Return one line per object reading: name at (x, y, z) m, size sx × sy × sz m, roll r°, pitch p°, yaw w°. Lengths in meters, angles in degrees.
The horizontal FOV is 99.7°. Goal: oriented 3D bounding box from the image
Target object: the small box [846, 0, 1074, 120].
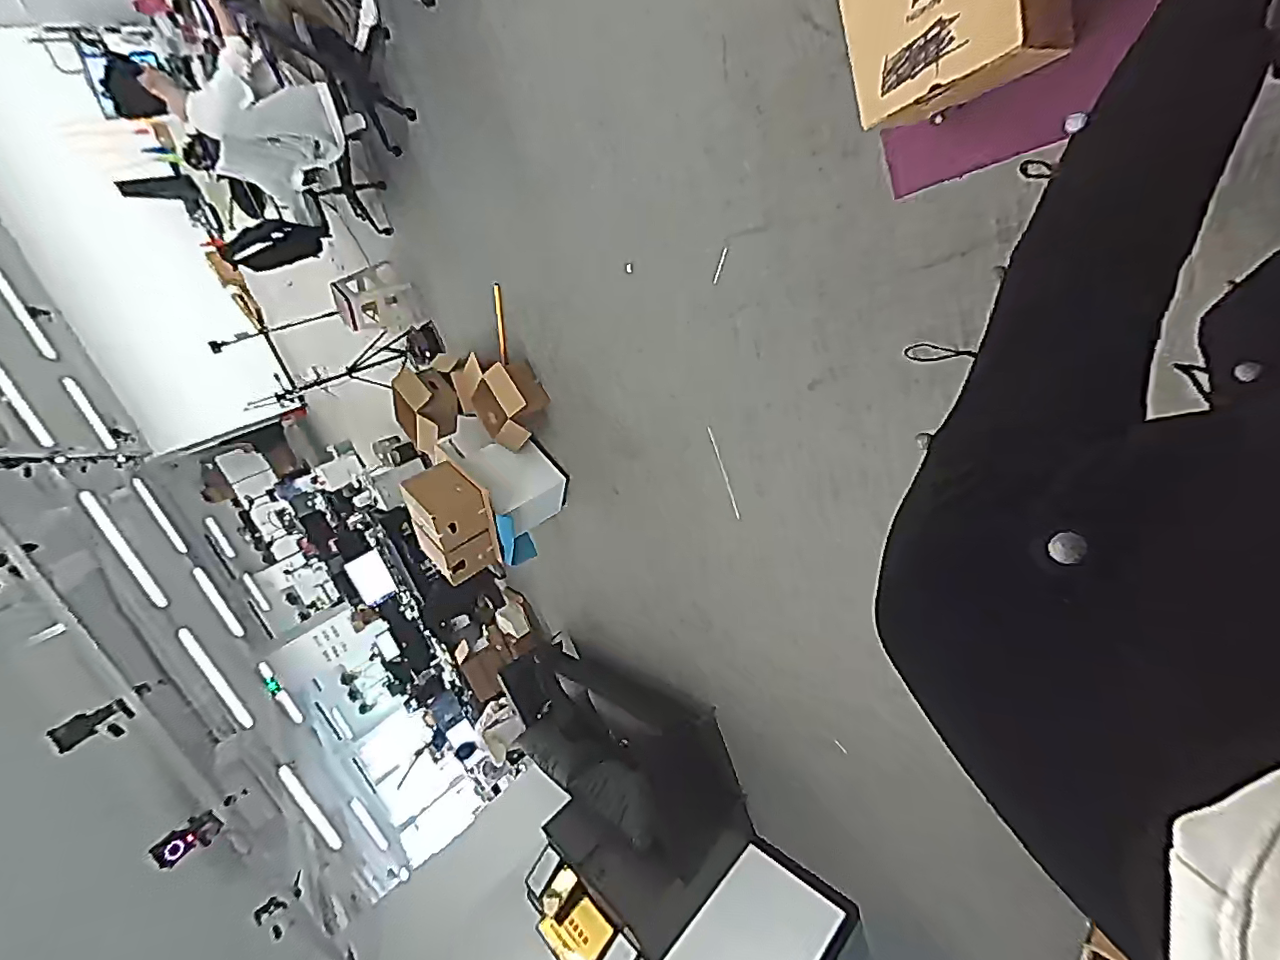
small box at (0.357, -0.543, 0.605) m, size 0.168 × 0.176 × 0.179 m, roll 4°, pitch 119°, yaw 53°
